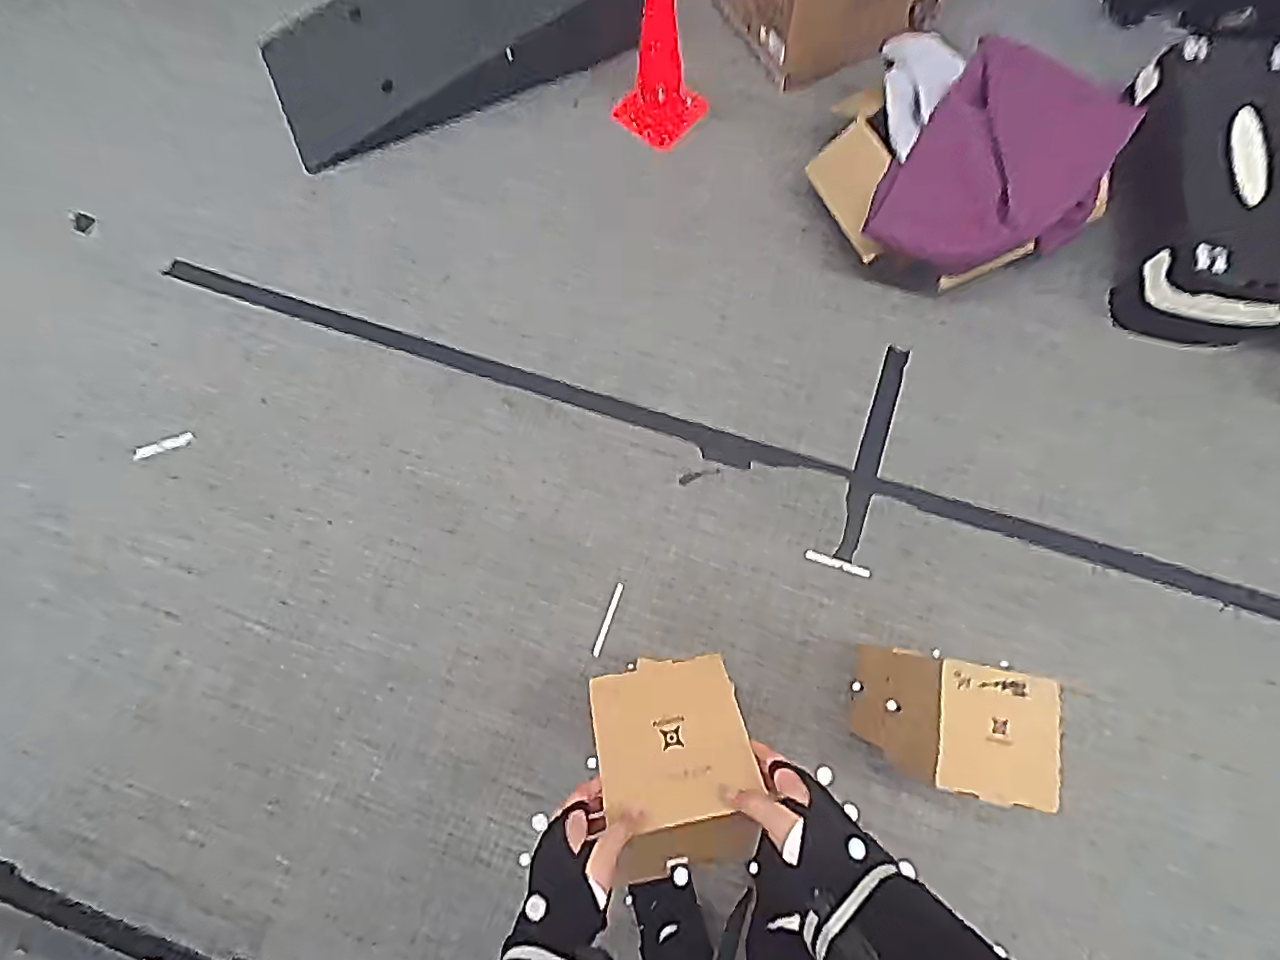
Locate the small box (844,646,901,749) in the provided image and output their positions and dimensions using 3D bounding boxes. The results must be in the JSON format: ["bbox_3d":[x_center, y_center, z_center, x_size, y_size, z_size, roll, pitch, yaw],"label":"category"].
[{"bbox_3d":[0.499,0.408,0.994,0.179,0.176,0.168,13,76,4],"label":"small box"}]

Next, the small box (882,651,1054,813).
[{"bbox_3d":[0.493,0.373,0.834,0.168,0.176,0.179,11,76,4],"label":"small box"}]

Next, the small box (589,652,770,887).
[{"bbox_3d":[0.036,0.336,0.634,0.168,0.176,0.179,-9,41,-7],"label":"small box"}]
